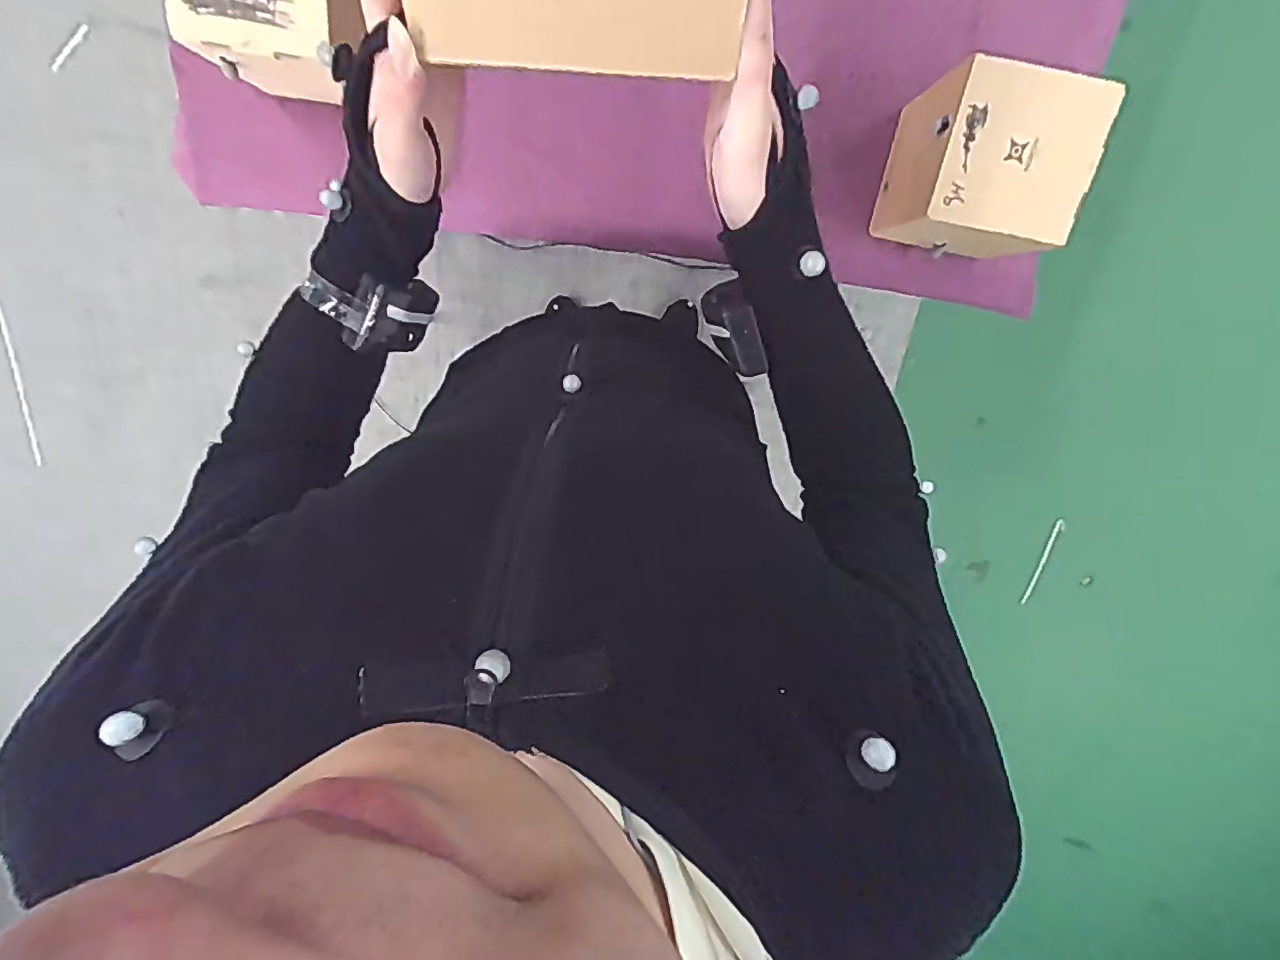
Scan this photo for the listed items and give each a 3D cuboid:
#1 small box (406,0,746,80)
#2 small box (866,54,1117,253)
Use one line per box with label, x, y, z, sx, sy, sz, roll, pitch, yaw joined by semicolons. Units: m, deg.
small box;-0.027;-0.330;0.267;0.168;0.176;0.179;3;140;-2
small box;0.423;-0.393;0.686;0.179;0.176;0.168;10;107;-4
